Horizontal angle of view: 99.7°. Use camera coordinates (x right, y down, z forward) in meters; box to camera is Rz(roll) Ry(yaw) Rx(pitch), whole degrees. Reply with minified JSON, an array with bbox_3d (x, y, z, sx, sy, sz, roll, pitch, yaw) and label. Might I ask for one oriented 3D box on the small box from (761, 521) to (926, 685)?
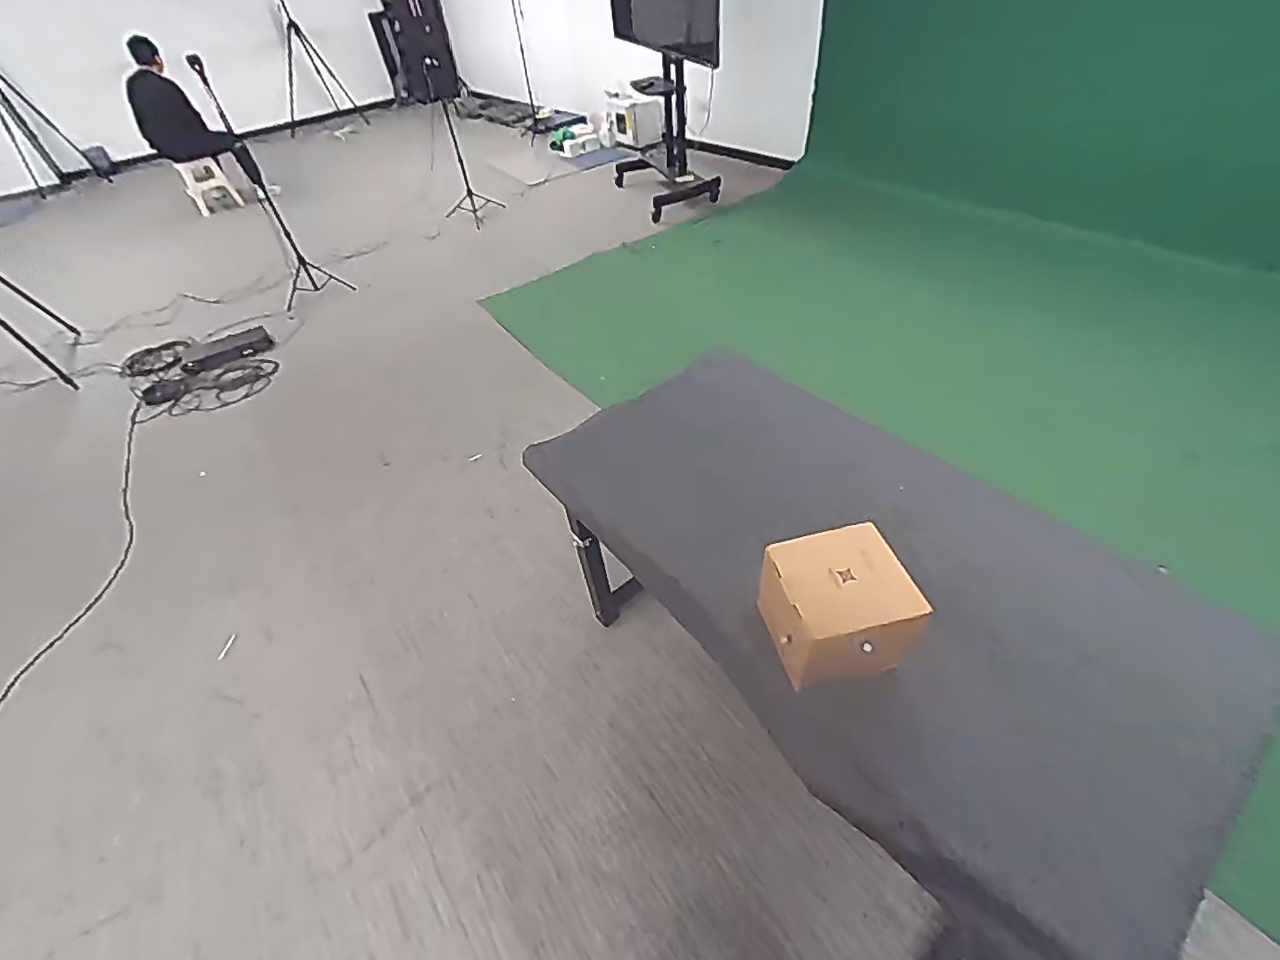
[{"bbox_3d":[0.295,0.193,0.834,0.179,0.176,0.168,-12,47,-7],"label":"small box"}]
